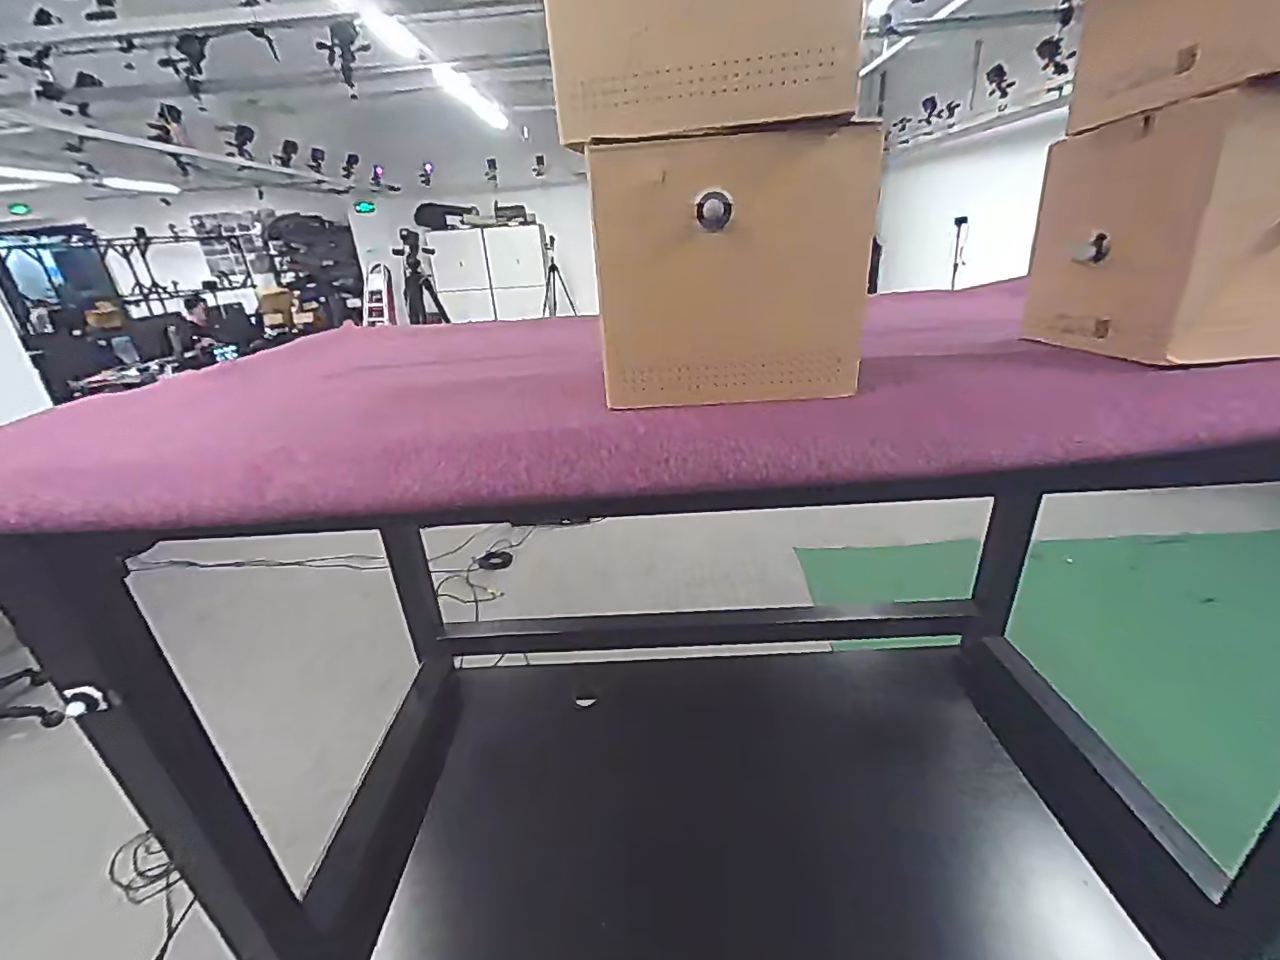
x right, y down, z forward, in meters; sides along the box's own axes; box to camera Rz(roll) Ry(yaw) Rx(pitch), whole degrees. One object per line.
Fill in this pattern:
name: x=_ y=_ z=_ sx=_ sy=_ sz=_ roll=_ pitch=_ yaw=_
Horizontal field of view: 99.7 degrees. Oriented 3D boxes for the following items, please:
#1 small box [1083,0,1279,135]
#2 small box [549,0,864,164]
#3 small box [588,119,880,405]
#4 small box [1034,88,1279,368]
small box: x=0.428 y=-0.331 z=0.342 sx=0.179 sy=0.176 sz=0.168 roll=-4 pitch=22 yaw=3
small box: x=0.048 y=-0.307 z=0.353 sx=0.179 sy=0.176 sz=0.168 roll=1 pitch=24 yaw=12
small box: x=0.062 y=-0.159 z=0.420 sx=0.179 sy=0.176 sz=0.168 roll=-2 pitch=25 yaw=3
small box: x=0.441 y=-0.185 z=0.415 sx=0.179 sy=0.176 sz=0.168 roll=-4 pitch=22 yaw=3
